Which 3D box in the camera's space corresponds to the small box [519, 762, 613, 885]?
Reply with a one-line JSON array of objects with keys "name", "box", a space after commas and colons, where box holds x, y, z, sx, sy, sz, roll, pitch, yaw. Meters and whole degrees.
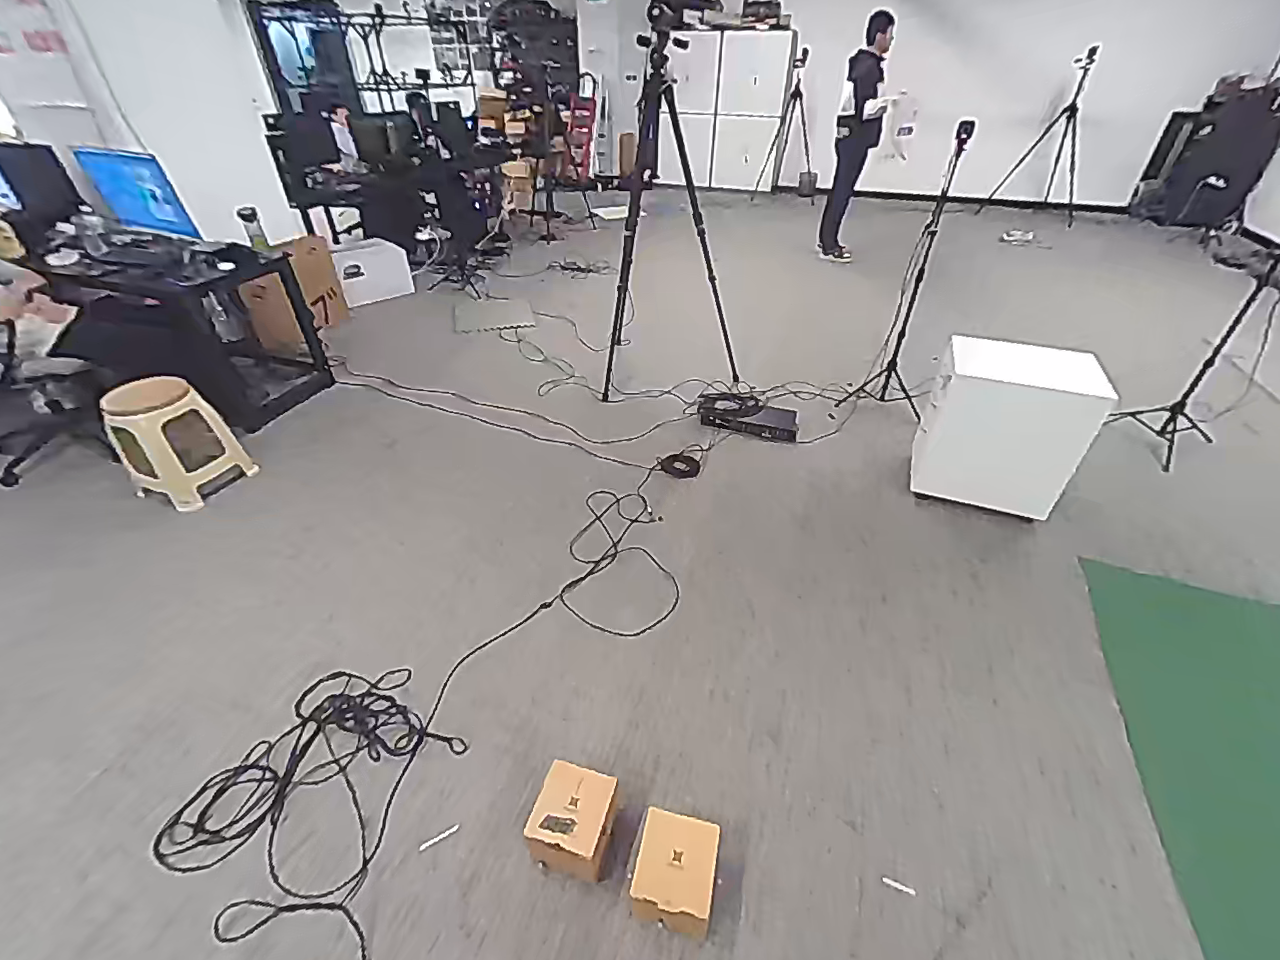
[{"name": "small box", "box": [-0.164, 0.810, 1.274, 0.168, 0.176, 0.179, 11, 38, 13]}]

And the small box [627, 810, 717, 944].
[{"name": "small box", "box": [0.070, 0.876, 1.194, 0.168, 0.176, 0.179, 9, 39, 11]}]
